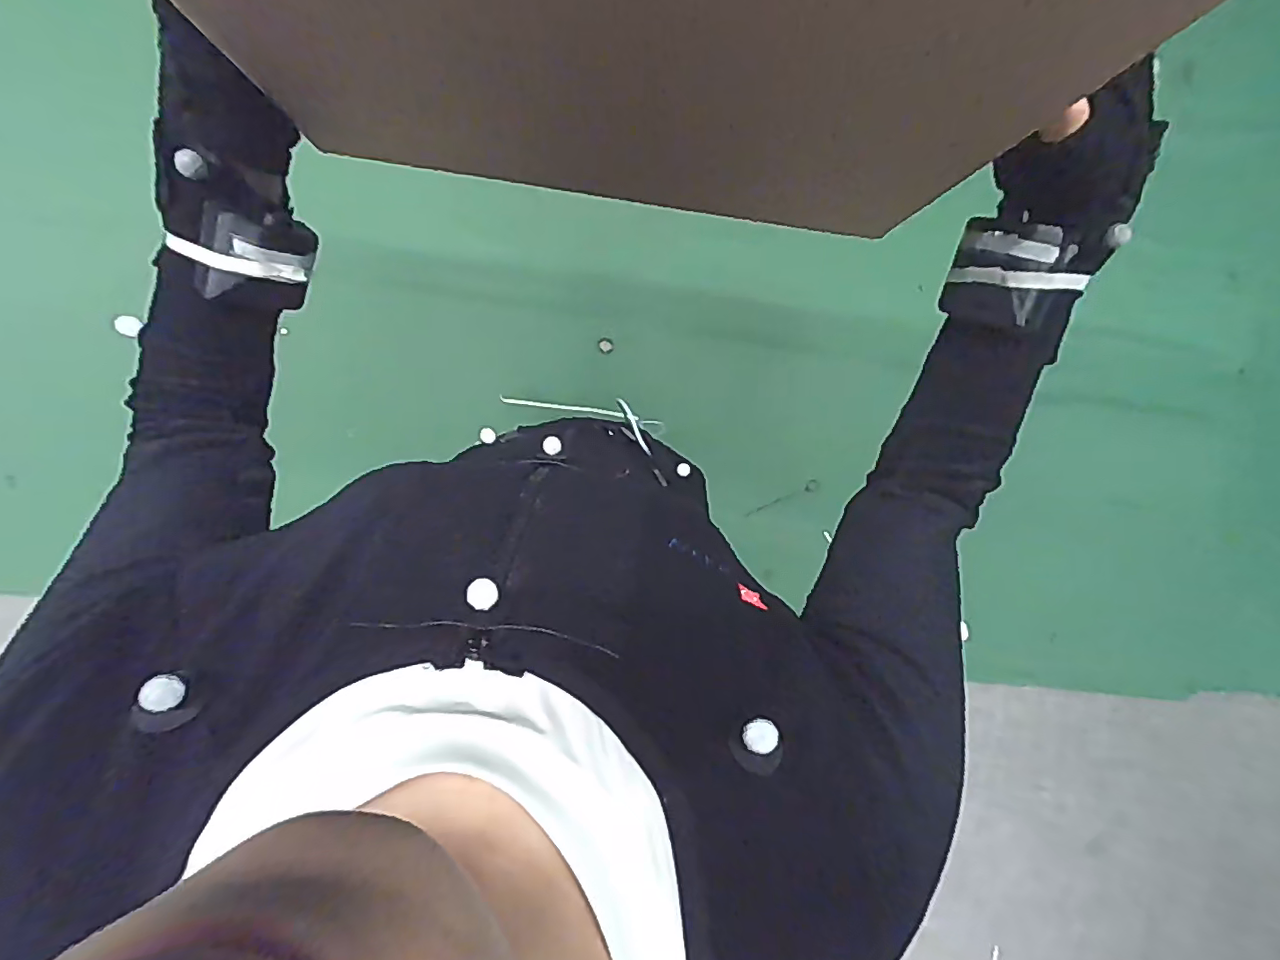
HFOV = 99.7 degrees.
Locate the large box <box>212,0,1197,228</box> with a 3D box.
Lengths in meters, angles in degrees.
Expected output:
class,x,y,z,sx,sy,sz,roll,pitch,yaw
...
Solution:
class,x,y,z,sx,sy,sz,roll,pitch,yaw
large box,0.016,-0.343,0.227,0.408,0.320,0.320,7,95,-6
